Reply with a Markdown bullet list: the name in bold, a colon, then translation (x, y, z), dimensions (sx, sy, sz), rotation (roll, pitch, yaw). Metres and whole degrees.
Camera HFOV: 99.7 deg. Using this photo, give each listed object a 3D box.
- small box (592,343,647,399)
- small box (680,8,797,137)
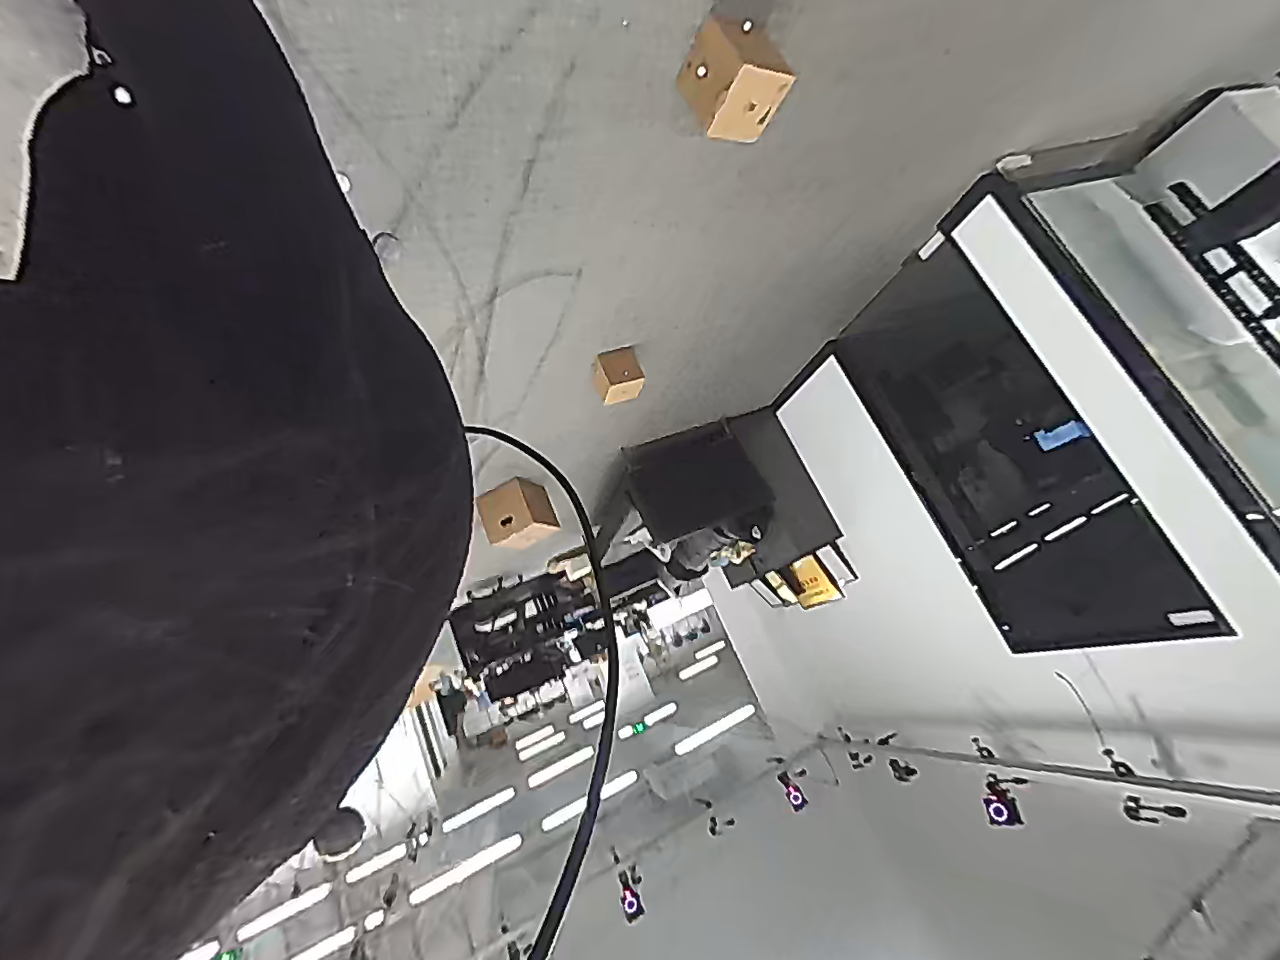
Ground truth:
- **small box**: translation (-0.096, -0.490, 2.414), dimensions (0.179, 0.176, 0.168), rotation (-18, 164, -21)
- **small box**: translation (0.220, -0.943, 1.256), dimensions (0.179, 0.176, 0.168), rotation (-15, 163, -33)
